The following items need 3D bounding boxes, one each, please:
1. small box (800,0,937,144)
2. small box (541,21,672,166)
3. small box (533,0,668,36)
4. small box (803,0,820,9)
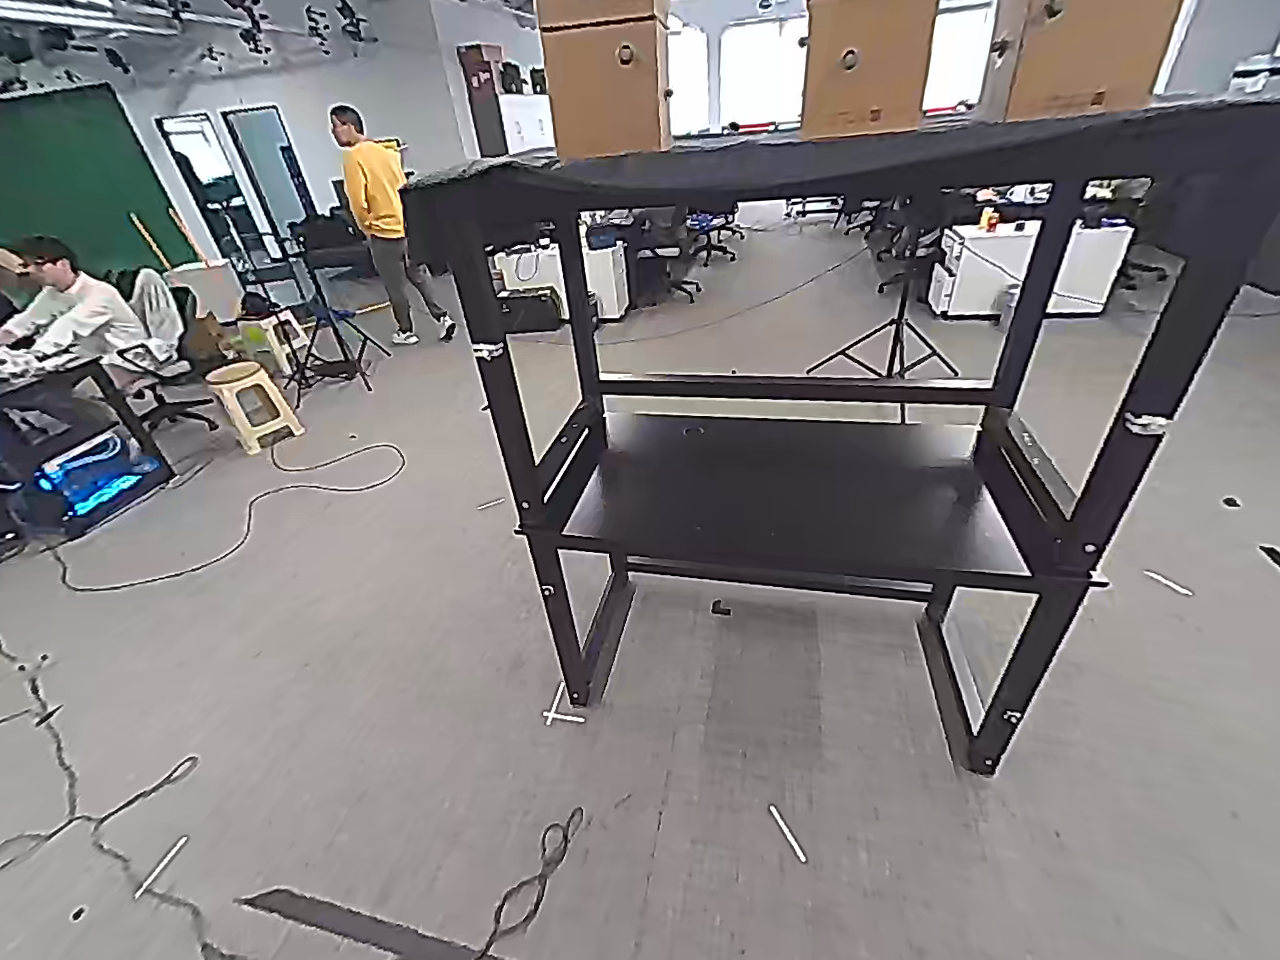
[{"bbox_3d":[0.335,-0.611,0.813,0.168,0.176,0.179,5,34,16],"label":"small box"},{"bbox_3d":[-0.042,-0.622,0.884,0.179,0.176,0.168,1,32,10],"label":"small box"},{"bbox_3d":[-0.056,-0.756,0.791,0.179,0.176,0.168,3,33,11],"label":"small box"},{"bbox_3d":[0.317,-0.744,0.717,0.179,0.176,0.168,4,33,17],"label":"small box"}]
